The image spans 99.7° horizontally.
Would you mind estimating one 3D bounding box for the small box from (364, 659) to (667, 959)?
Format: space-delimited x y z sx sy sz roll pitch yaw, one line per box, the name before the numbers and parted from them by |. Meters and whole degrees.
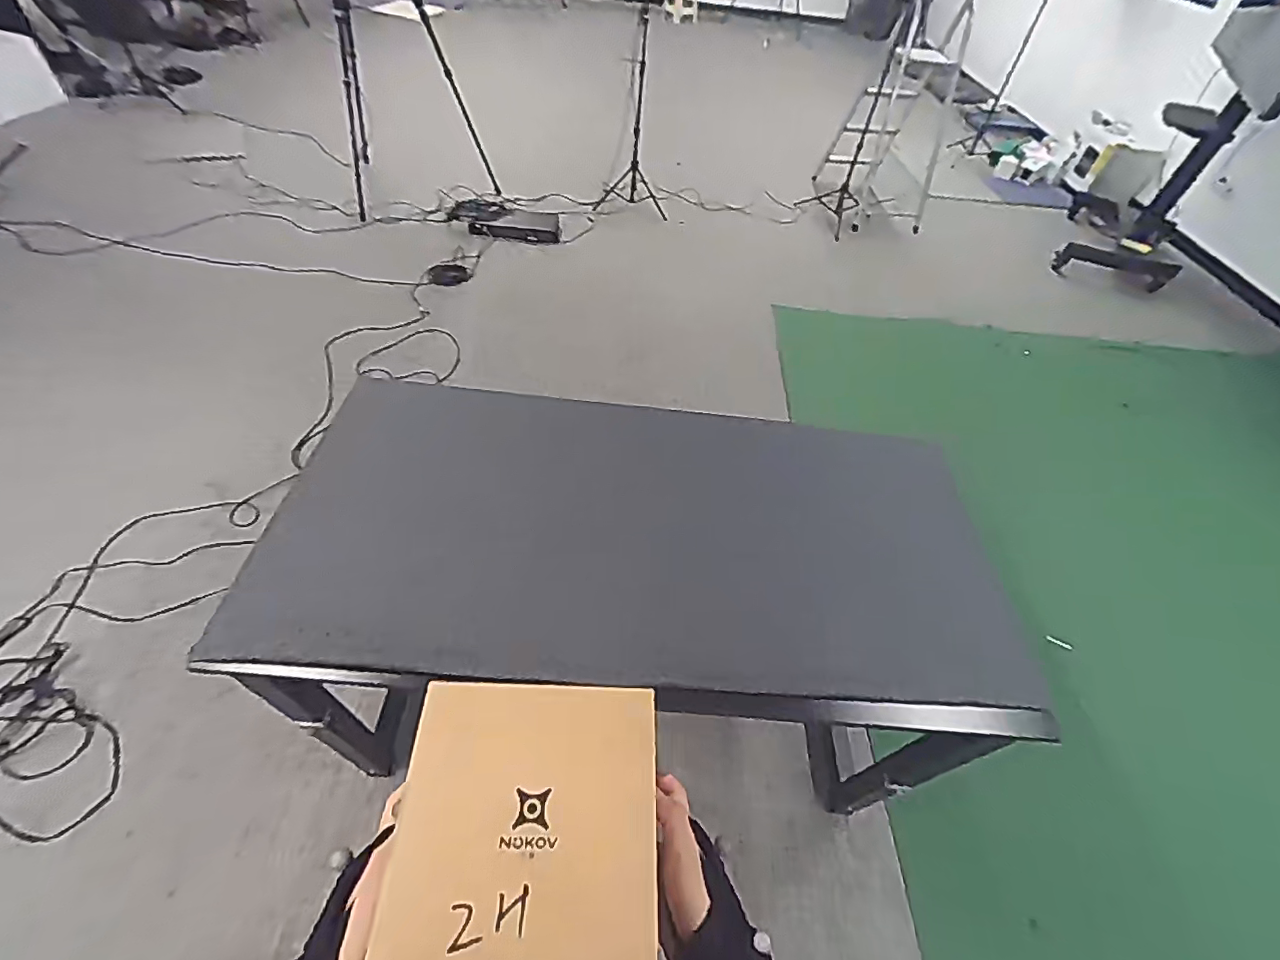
small box | -0.073 0.253 0.403 0.168 0.176 0.179 4 52 -4
